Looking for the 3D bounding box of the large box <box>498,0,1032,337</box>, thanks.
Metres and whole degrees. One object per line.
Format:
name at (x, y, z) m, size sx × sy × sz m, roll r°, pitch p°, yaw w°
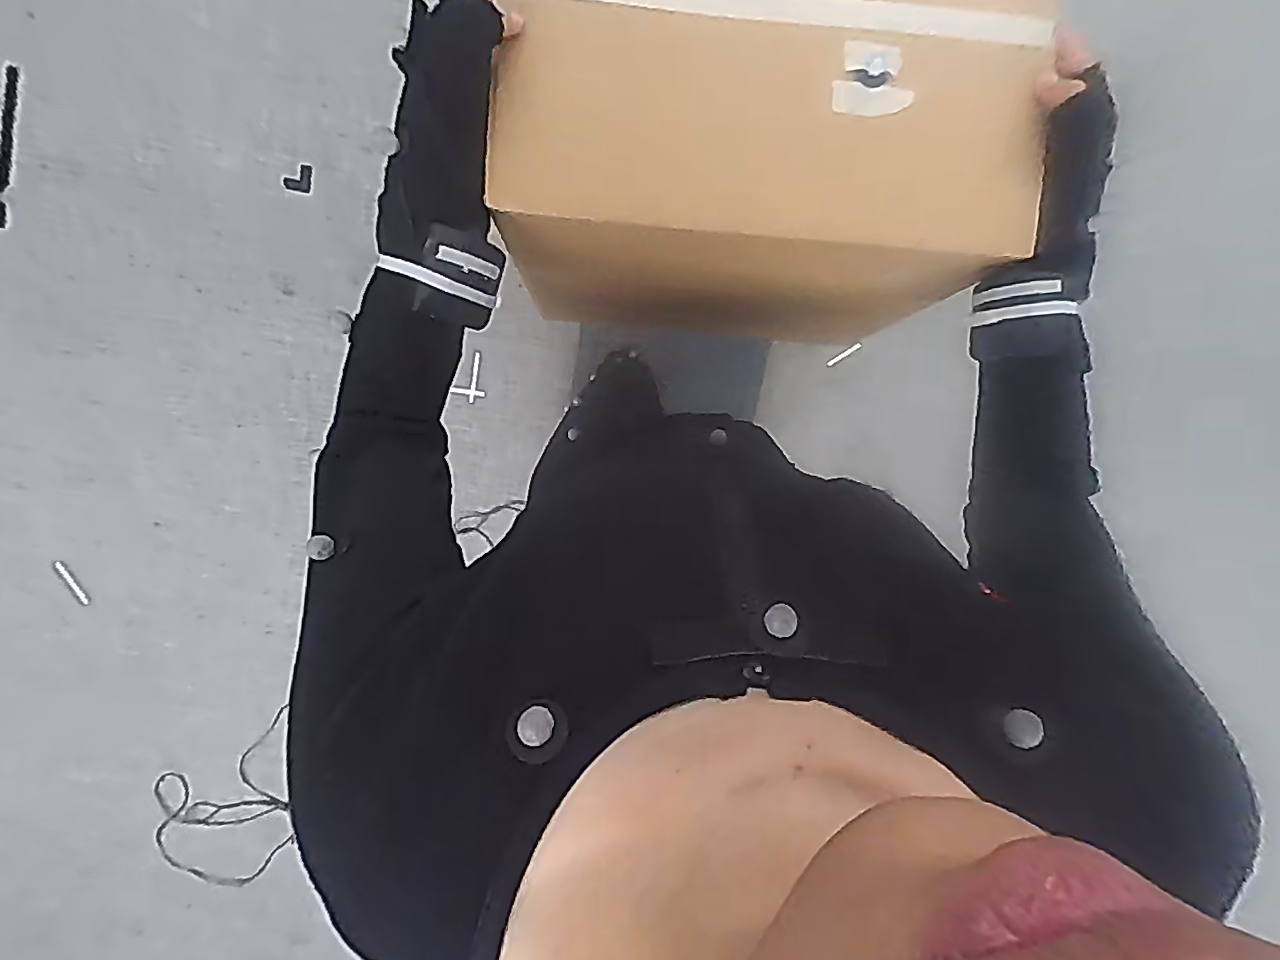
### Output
large box at (0.089, -0.346, 0.552) m, size 0.408 × 0.320 × 0.320 m, roll 4°, pitch 92°, yaw -4°
